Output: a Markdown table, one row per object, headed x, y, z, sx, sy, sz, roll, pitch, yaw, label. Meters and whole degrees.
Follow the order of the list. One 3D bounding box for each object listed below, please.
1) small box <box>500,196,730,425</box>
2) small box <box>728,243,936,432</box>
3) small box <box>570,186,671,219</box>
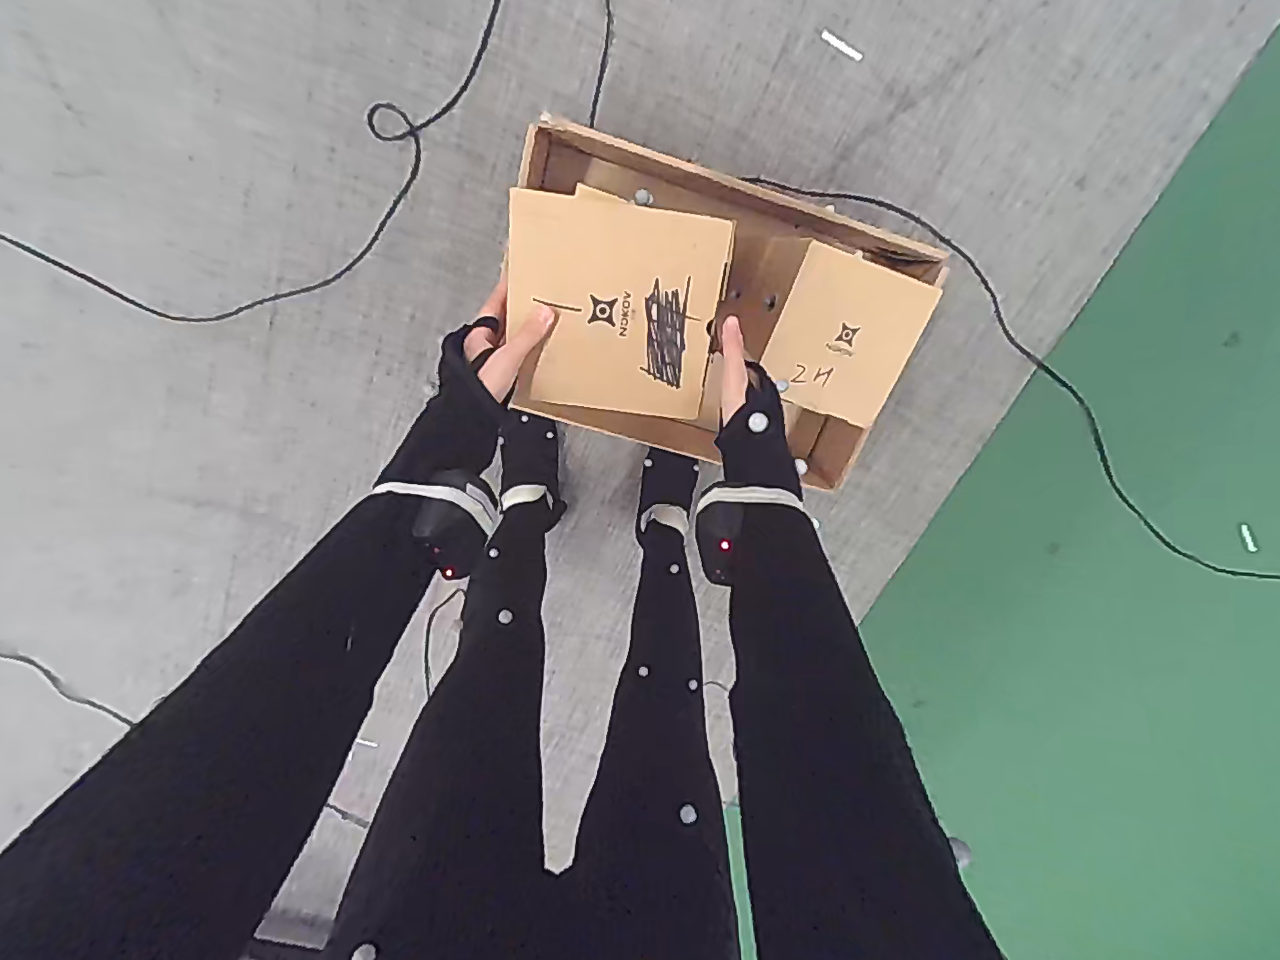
| x | y | z | sx | sy | sz | roll | pitch | yaw | label |
| --- | --- | --- | --- | --- | --- | --- | --- | --- | --- |
| -0.028 | -0.166 | 0.520 | 0.179 | 0.176 | 0.168 | 7 | 114 | -4 | small box |
| 0.226 | -0.189 | 0.695 | 0.168 | 0.176 | 0.179 | 17 | 113 | -9 | small box |
| -0.028 | -0.319 | 0.811 | 0.179 | 0.176 | 0.168 | 15 | 114 | -10 | small box |
